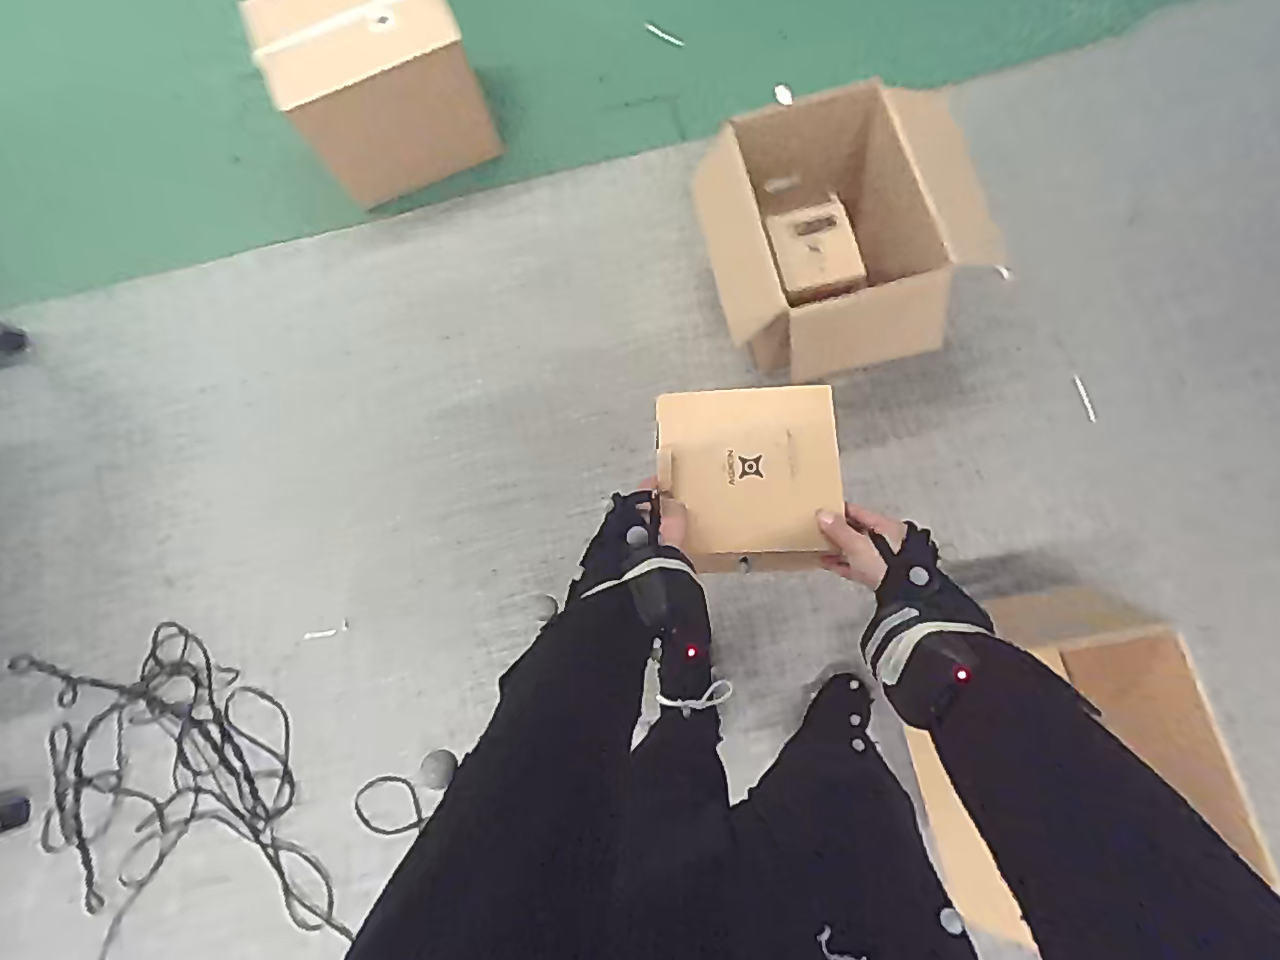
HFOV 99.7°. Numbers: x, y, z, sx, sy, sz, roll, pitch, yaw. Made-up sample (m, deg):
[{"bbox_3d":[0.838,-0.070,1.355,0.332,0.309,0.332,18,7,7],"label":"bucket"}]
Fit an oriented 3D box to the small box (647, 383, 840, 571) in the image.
[{"bbox_3d":[0.104,0.009,0.591,0.179,0.176,0.168,-3,75,6],"label":"small box"}]
